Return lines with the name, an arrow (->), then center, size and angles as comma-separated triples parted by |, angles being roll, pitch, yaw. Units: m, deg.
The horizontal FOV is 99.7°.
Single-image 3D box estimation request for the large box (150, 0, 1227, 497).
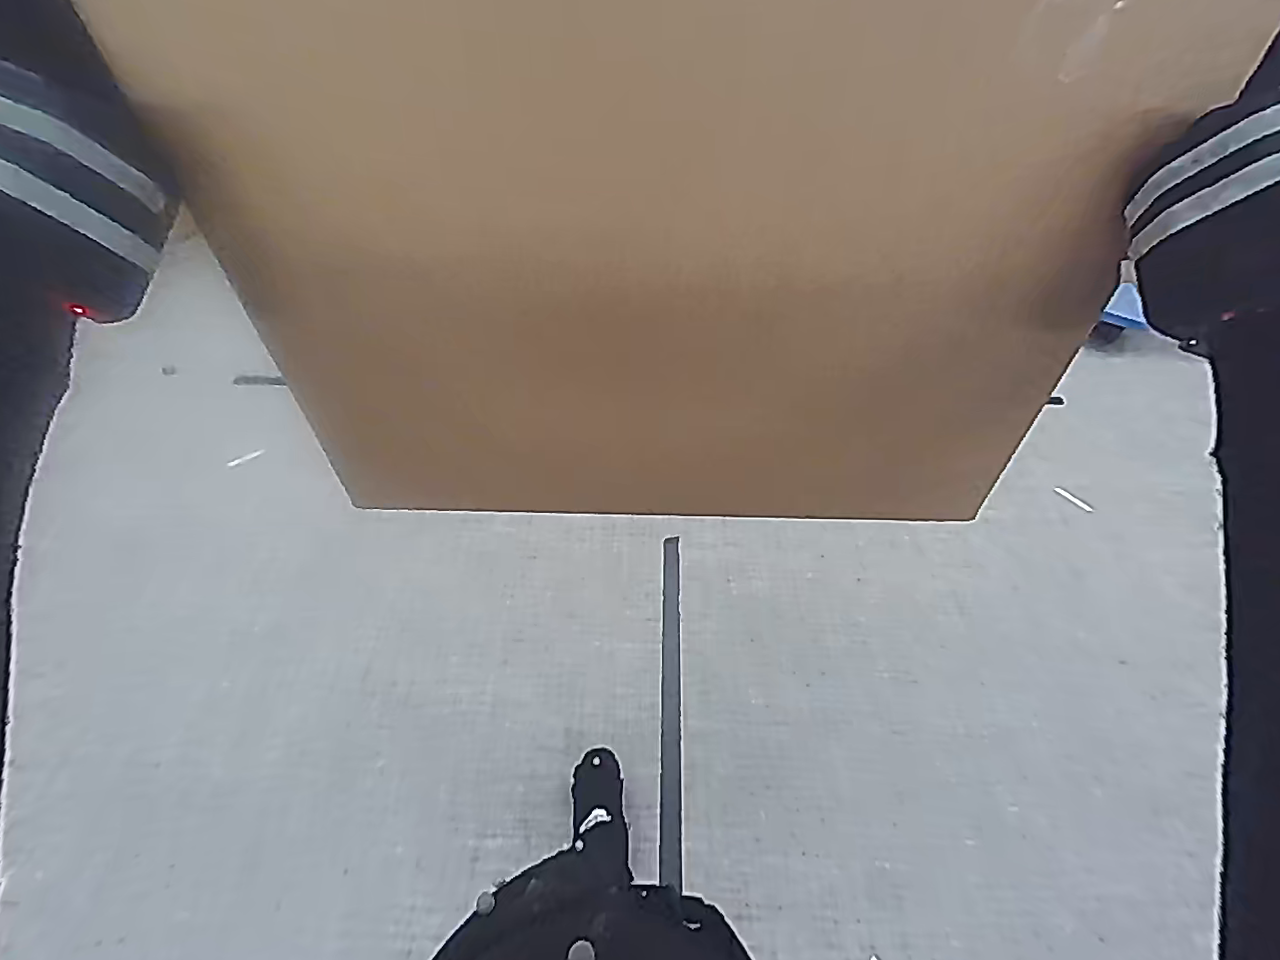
large box -> 0.016, -0.199, 0.373 | 0.408, 0.320, 0.320 | 1, 44, 1
